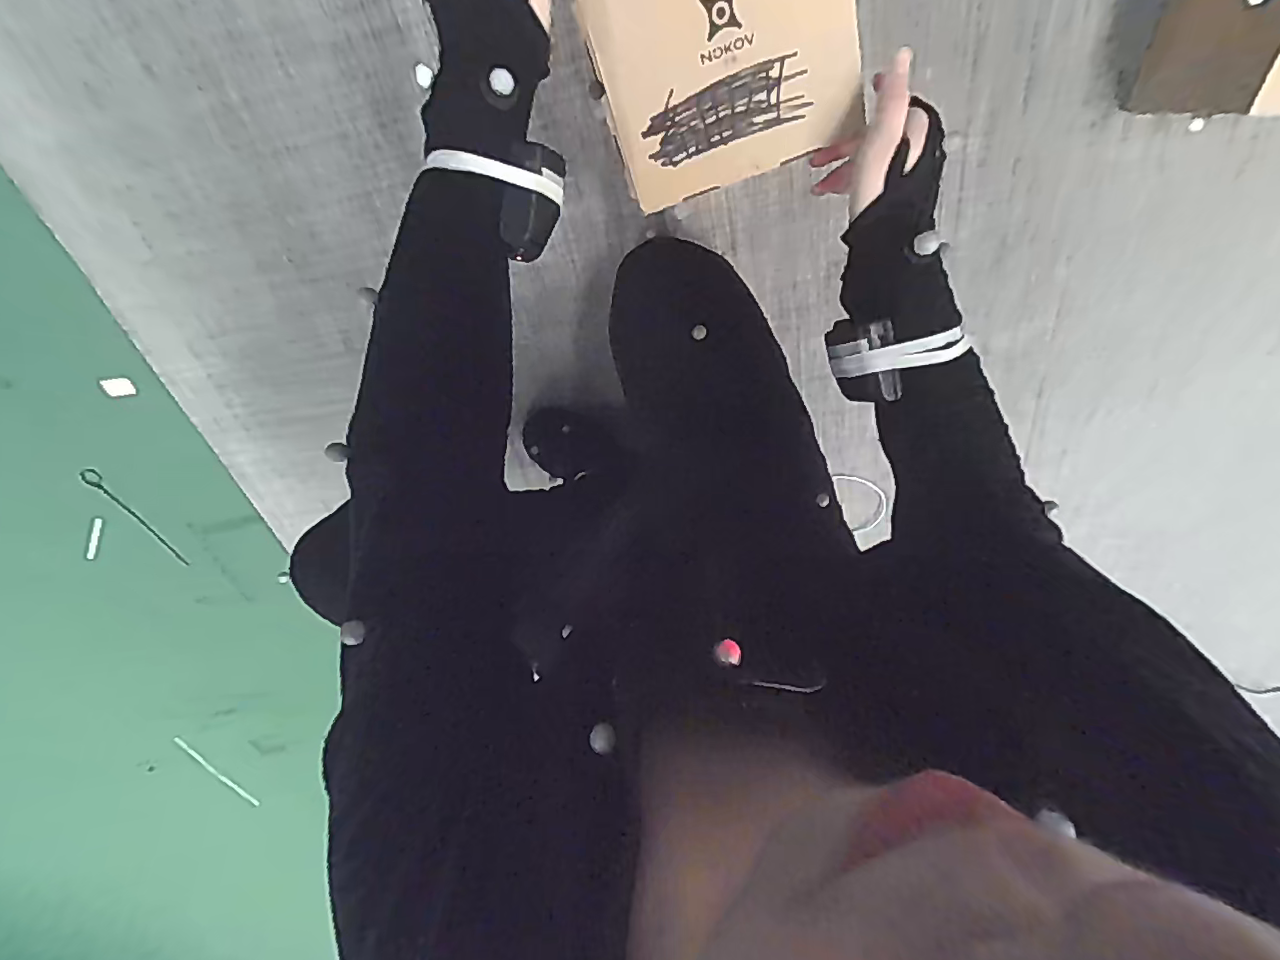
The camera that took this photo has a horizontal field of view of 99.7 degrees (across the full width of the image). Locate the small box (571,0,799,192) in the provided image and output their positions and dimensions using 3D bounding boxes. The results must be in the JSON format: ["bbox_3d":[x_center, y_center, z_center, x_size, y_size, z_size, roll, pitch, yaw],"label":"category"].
[{"bbox_3d":[0.048,-0.420,0.558,0.179,0.176,0.168,-16,123,11],"label":"small box"}]

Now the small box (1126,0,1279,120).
[{"bbox_3d":[0.646,-0.461,0.528,0.168,0.176,0.179,1,123,0],"label":"small box"}]
